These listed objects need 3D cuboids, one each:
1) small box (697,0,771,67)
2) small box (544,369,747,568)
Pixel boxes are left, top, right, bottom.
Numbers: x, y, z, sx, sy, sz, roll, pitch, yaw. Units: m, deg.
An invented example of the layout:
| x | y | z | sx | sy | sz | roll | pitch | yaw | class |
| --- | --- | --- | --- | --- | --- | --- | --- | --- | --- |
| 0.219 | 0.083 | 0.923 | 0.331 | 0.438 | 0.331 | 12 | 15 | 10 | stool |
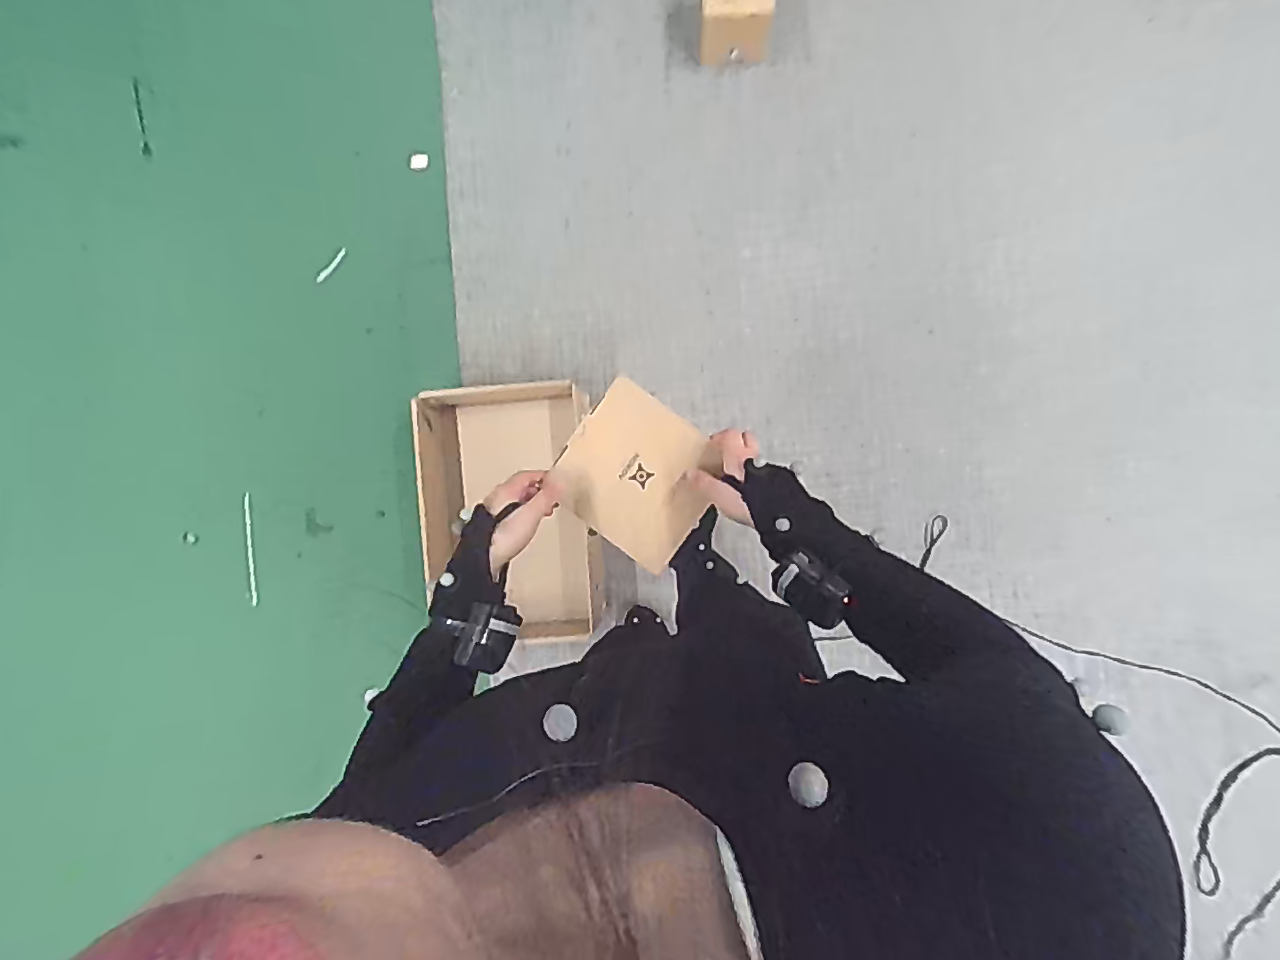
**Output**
| x | y | z | sx | sy | sz | roll | pitch | yaw | class |
| --- | --- | --- | --- | --- | --- | --- | --- | --- | --- |
| 0.228 | -1.173 | 1.339 | 0.168 | 0.176 | 0.179 | 0 | 91 | 4 | small box |
| 0.007 | -0.013 | 0.692 | 0.179 | 0.176 | 0.168 | 36 | 92 | 0 | small box |
